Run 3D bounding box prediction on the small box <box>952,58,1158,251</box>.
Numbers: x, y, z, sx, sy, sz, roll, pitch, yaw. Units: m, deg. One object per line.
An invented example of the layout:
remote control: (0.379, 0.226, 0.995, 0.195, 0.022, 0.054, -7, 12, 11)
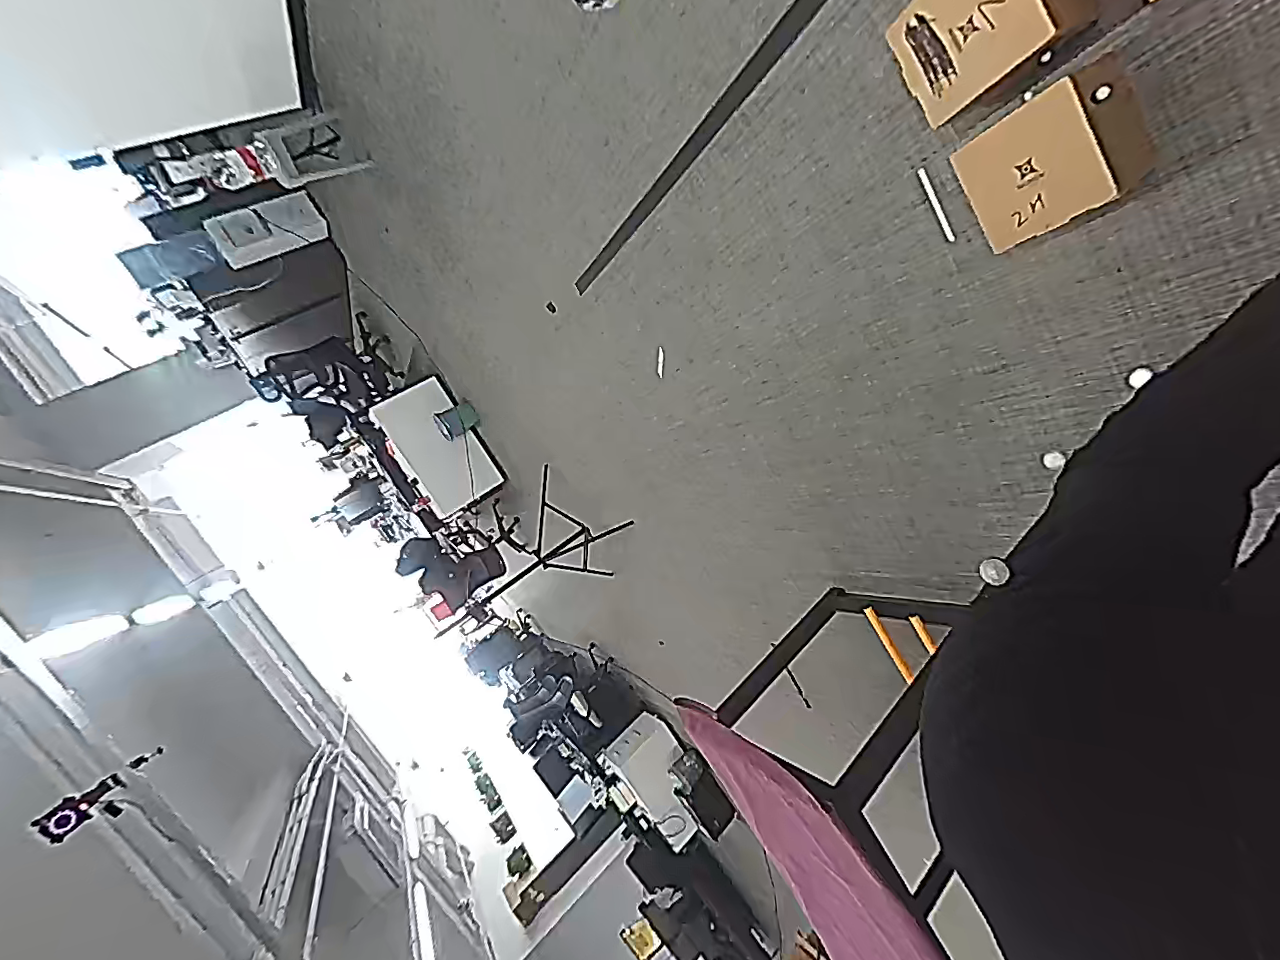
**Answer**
small box: (0.615, -0.483, 0.804, 0.179, 0.176, 0.168, 58, 155, -9)
